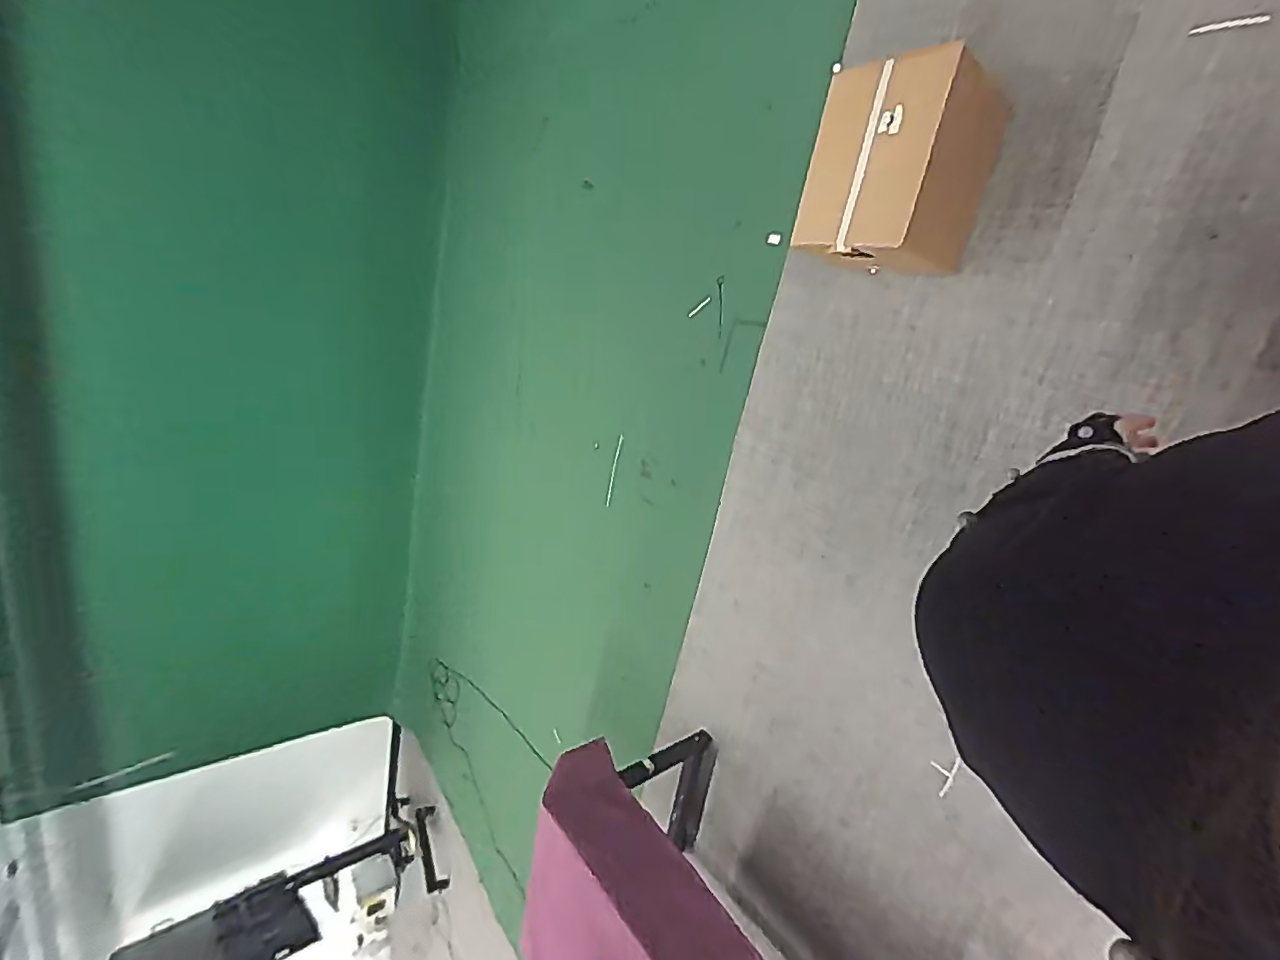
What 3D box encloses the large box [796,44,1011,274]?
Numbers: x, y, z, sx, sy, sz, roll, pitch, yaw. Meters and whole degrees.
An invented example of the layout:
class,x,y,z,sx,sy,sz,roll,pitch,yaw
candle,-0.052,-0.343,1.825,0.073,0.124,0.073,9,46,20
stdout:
class,x,y,z,sx,sy,sz,roll,pitch,yaw
large box,0.656,-0.764,1.368,0.320,0.320,0.408,29,112,46
